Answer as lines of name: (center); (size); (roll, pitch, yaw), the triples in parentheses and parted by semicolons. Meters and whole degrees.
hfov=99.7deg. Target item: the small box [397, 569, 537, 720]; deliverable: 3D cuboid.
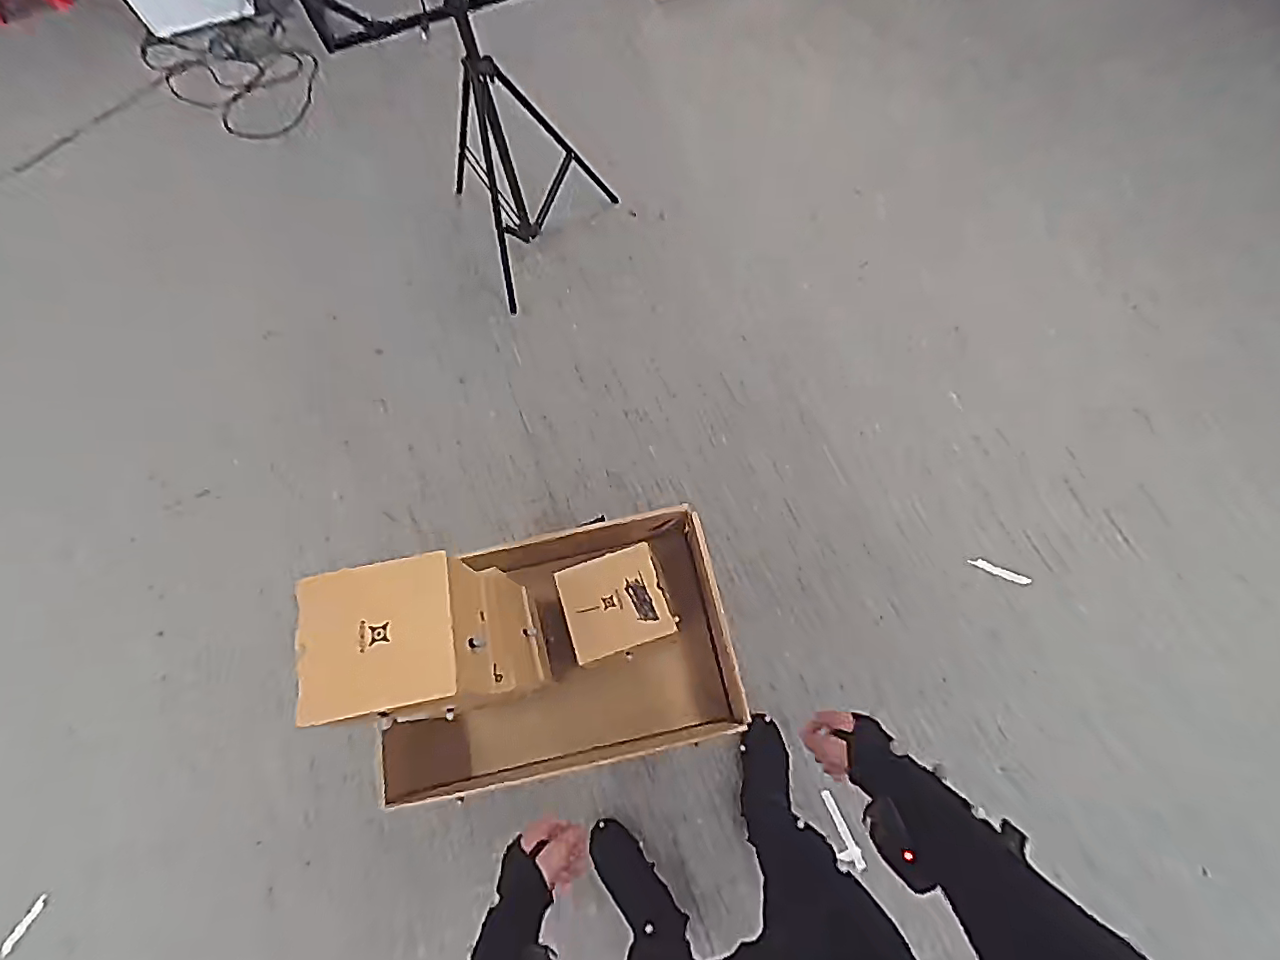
small box: (-0.265, 0.256, 0.831); (0.168, 0.176, 0.179); (-15, 69, -4)

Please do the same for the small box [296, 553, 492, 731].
small box: (-0.294, 0.203, 0.677); (0.179, 0.176, 0.168); (-12, 69, -3)
